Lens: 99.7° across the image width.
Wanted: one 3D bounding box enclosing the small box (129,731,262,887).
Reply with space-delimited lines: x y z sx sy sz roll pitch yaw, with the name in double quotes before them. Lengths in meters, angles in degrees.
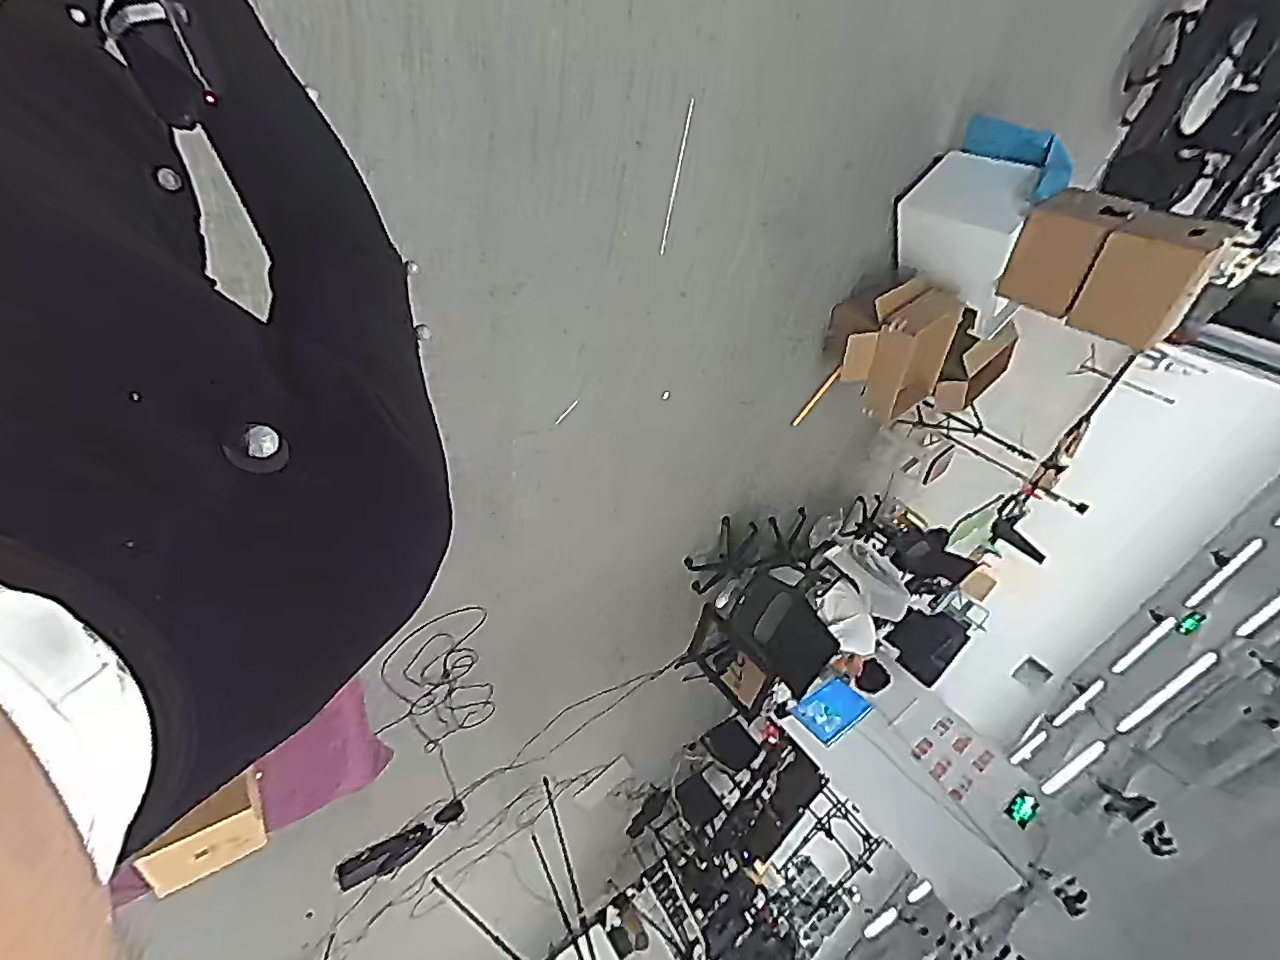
"small box" -0.884 0.648 1.081 0.179 0.176 0.168 -14 134 -36
